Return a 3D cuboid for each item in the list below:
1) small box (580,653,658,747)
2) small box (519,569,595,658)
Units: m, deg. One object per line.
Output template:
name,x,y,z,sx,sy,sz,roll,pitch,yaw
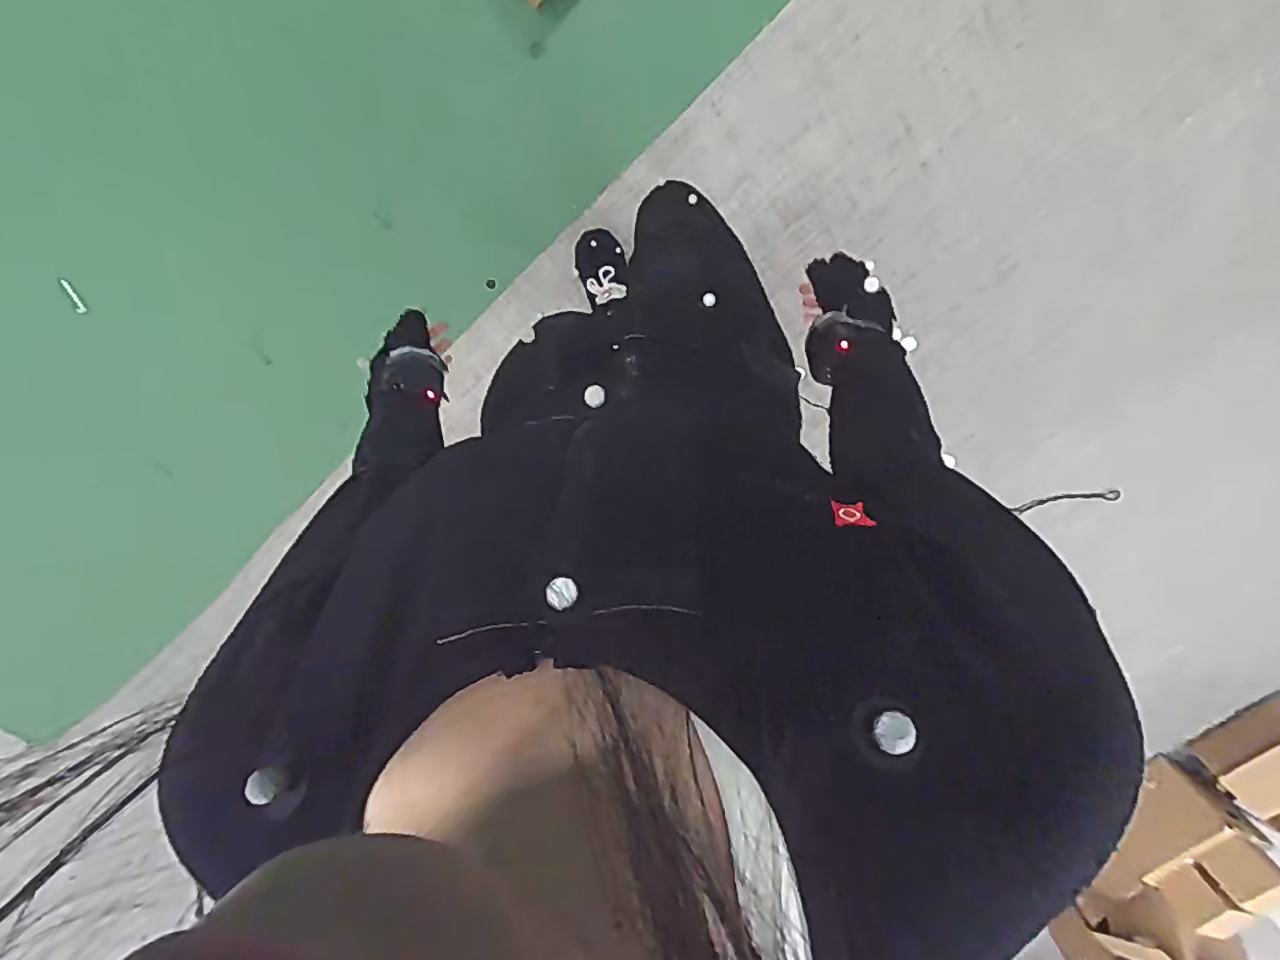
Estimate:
small box,-0.063,0.675,1.669,0.179,0.176,0.168,-41,112,18
small box,-0.252,0.420,1.710,0.179,0.176,0.168,-38,115,16
